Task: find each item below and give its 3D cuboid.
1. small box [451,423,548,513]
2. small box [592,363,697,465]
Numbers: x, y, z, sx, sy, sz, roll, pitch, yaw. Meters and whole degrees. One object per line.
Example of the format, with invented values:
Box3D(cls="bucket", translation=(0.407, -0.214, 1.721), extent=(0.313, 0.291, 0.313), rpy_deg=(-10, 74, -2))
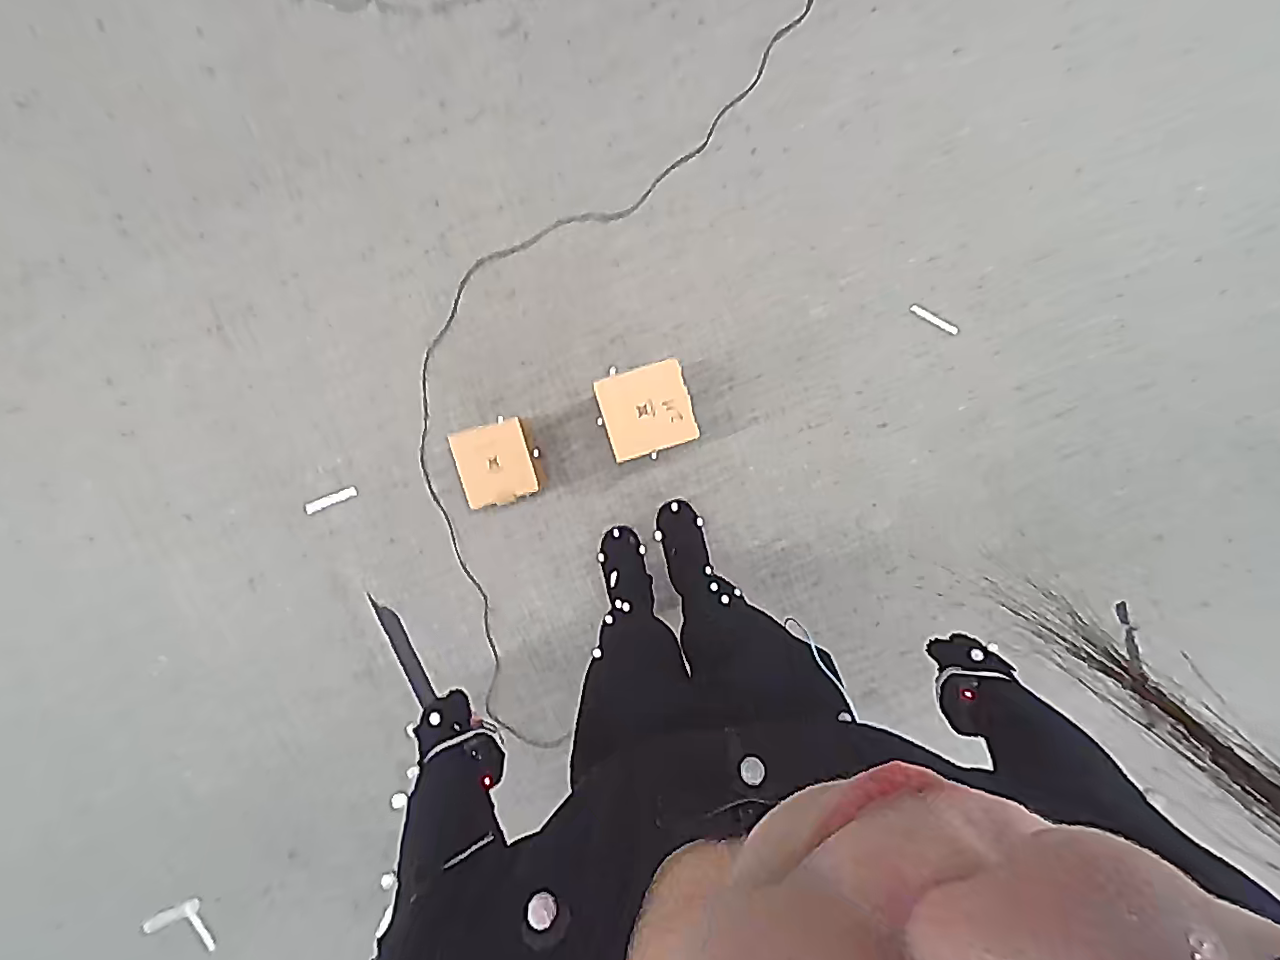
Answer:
Box3D(cls="small box", translation=(-0.331, -0.036, 1.311), extent=(0.168, 0.176, 0.179), rpy_deg=(-16, 96, -1))
Box3D(cls="small box", translation=(0.008, -0.136, 1.144), extent=(0.179, 0.176, 0.168), rpy_deg=(-17, 97, -1))
